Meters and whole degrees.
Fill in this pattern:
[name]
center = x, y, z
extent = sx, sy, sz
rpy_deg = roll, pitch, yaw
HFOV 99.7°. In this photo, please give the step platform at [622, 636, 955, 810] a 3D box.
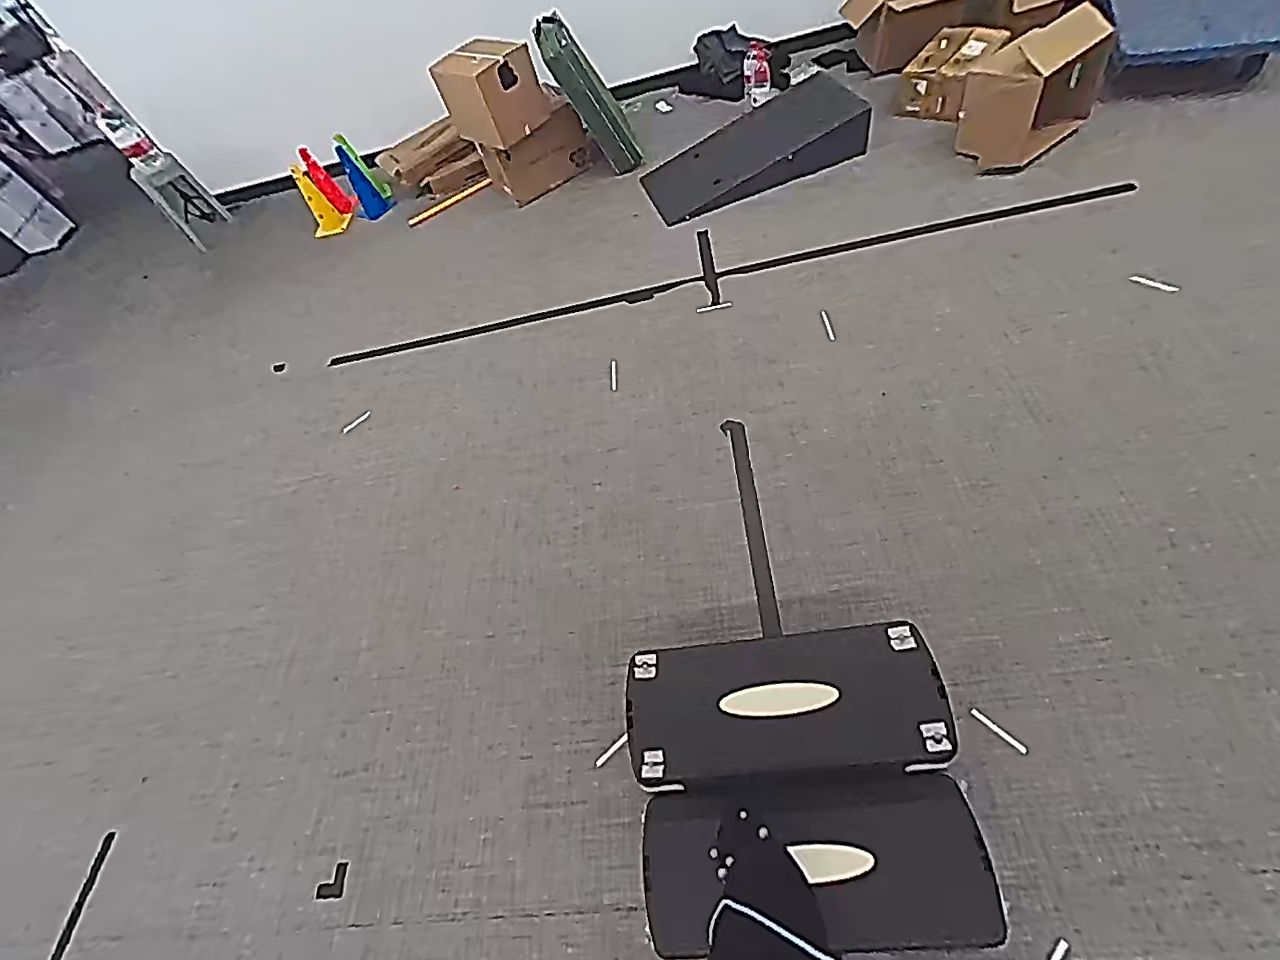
[step platform]
center = 0.302, 0.542, 1.205
extent = 0.684, 0.204, 0.286
rpy_deg = -10, 56, 7
